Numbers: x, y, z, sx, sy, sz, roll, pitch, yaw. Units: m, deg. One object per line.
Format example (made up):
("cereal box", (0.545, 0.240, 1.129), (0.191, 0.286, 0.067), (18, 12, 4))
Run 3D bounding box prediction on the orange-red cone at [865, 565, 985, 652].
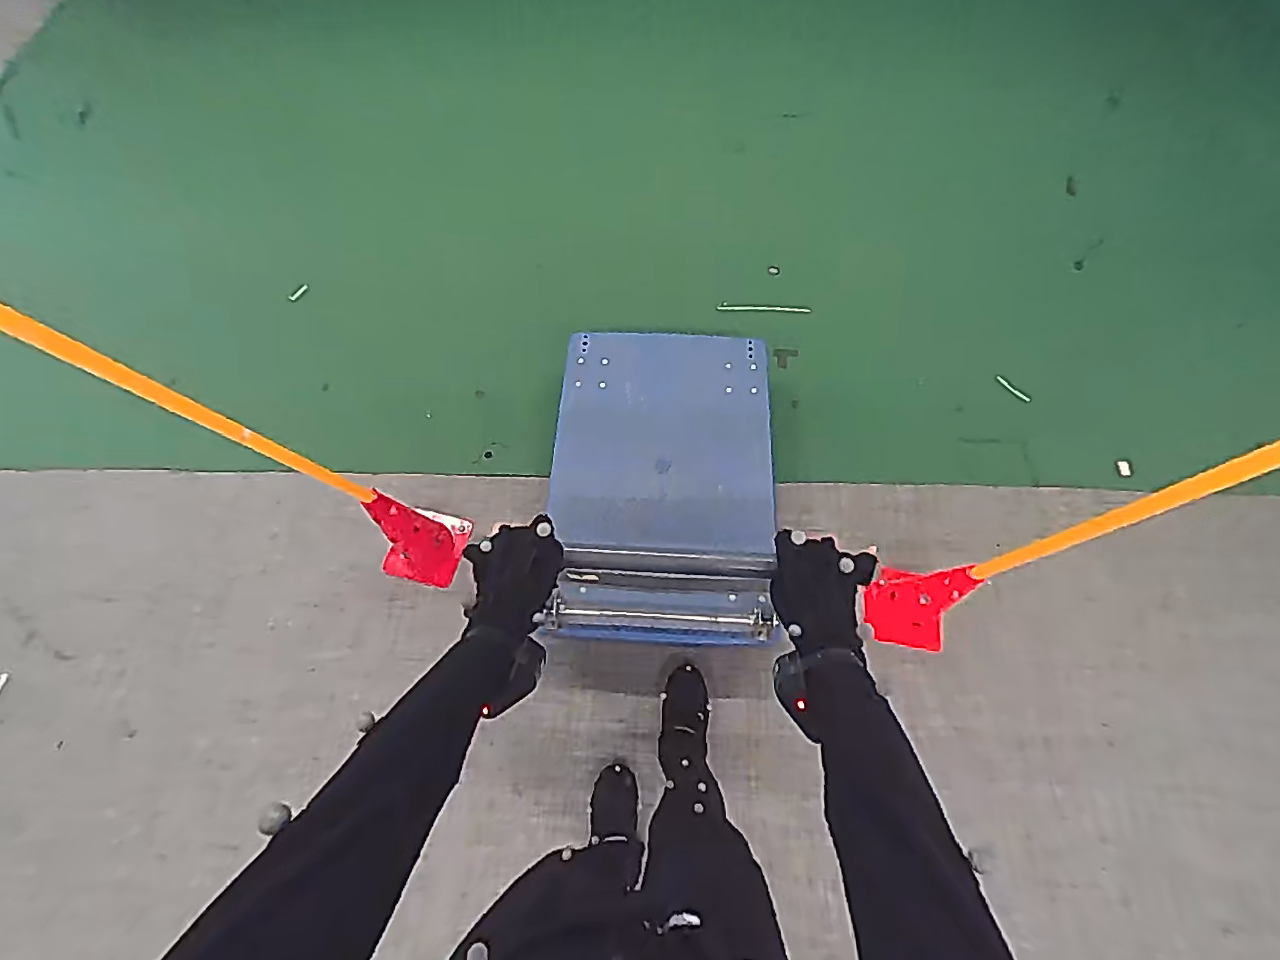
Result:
("orange-red cone", (0.688, 0.264, 1.256), (0.198, 0.360, 0.199), (11, 67, 7))
